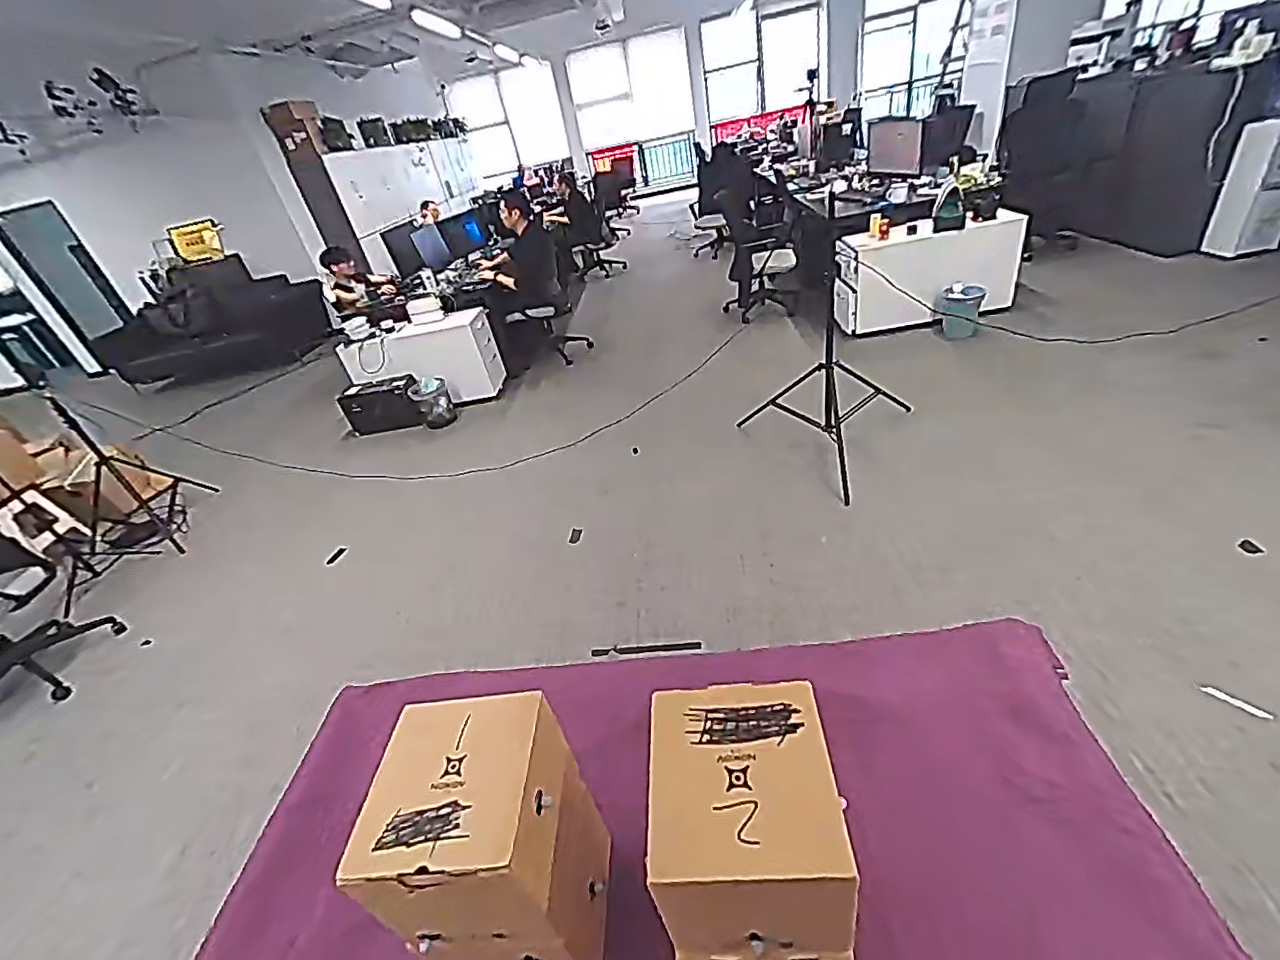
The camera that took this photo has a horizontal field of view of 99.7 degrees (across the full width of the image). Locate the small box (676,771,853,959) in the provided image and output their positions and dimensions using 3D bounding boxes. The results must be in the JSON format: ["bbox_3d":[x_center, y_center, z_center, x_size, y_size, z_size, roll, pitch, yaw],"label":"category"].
[{"bbox_3d":[0.133,0.466,0.617,0.168,0.176,0.179,-8,33,8],"label":"small box"}]

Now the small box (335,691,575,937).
[{"bbox_3d":[-0.175,0.359,0.580,0.168,0.176,0.179,-9,33,6],"label":"small box"}]

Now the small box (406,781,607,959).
[{"bbox_3d":[-0.144,0.497,0.664,0.179,0.176,0.168,-8,33,8],"label":"small box"}]
